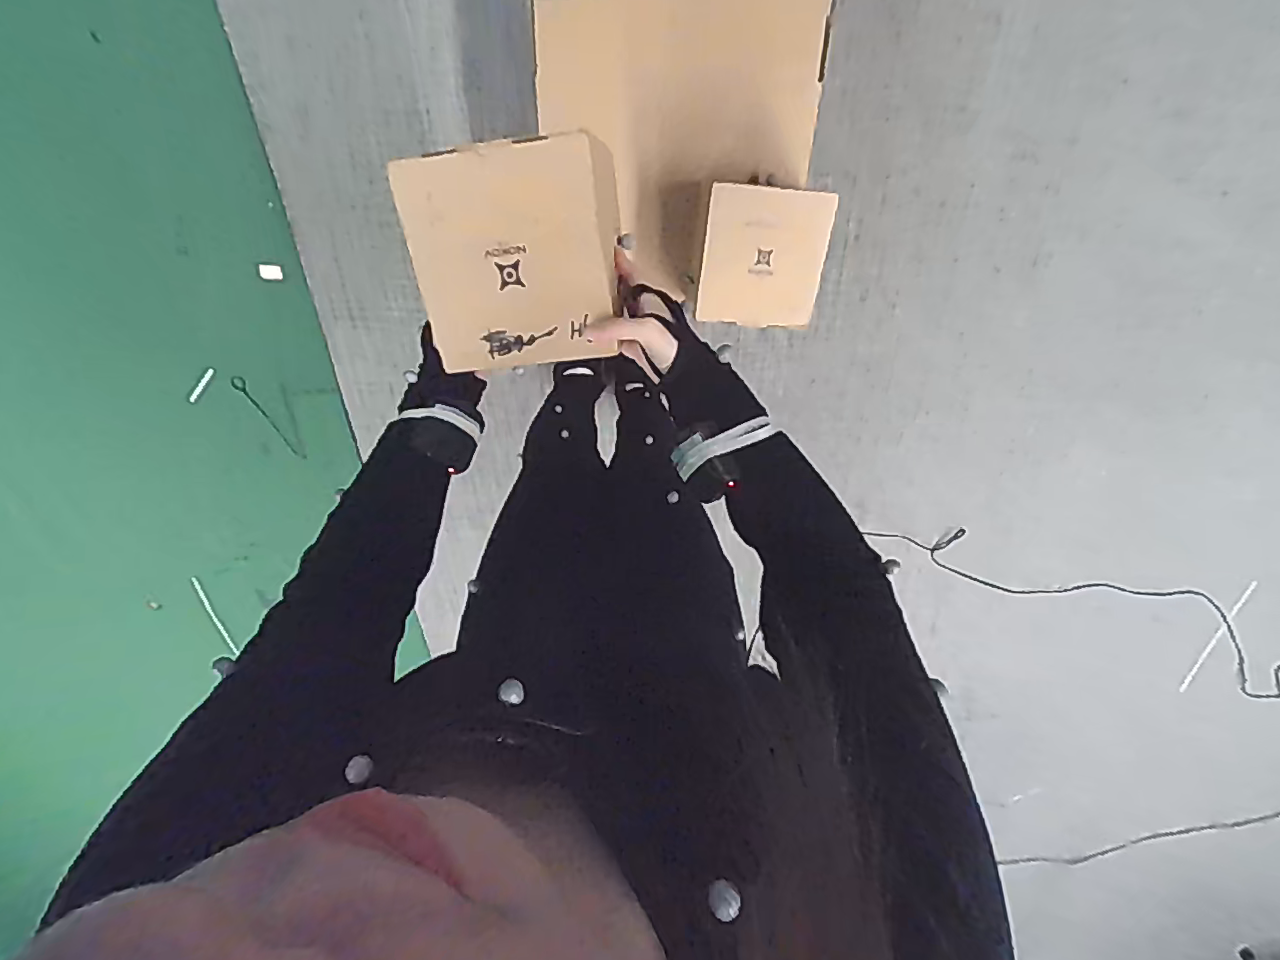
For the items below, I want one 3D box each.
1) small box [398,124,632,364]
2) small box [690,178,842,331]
[{"bbox_3d":[-0.101,-0.224,0.529,0.168,0.176,0.179,-4,116,6],"label":"small box"},{"bbox_3d":[0.167,-0.332,0.787,0.168,0.176,0.179,4,119,-3],"label":"small box"}]
